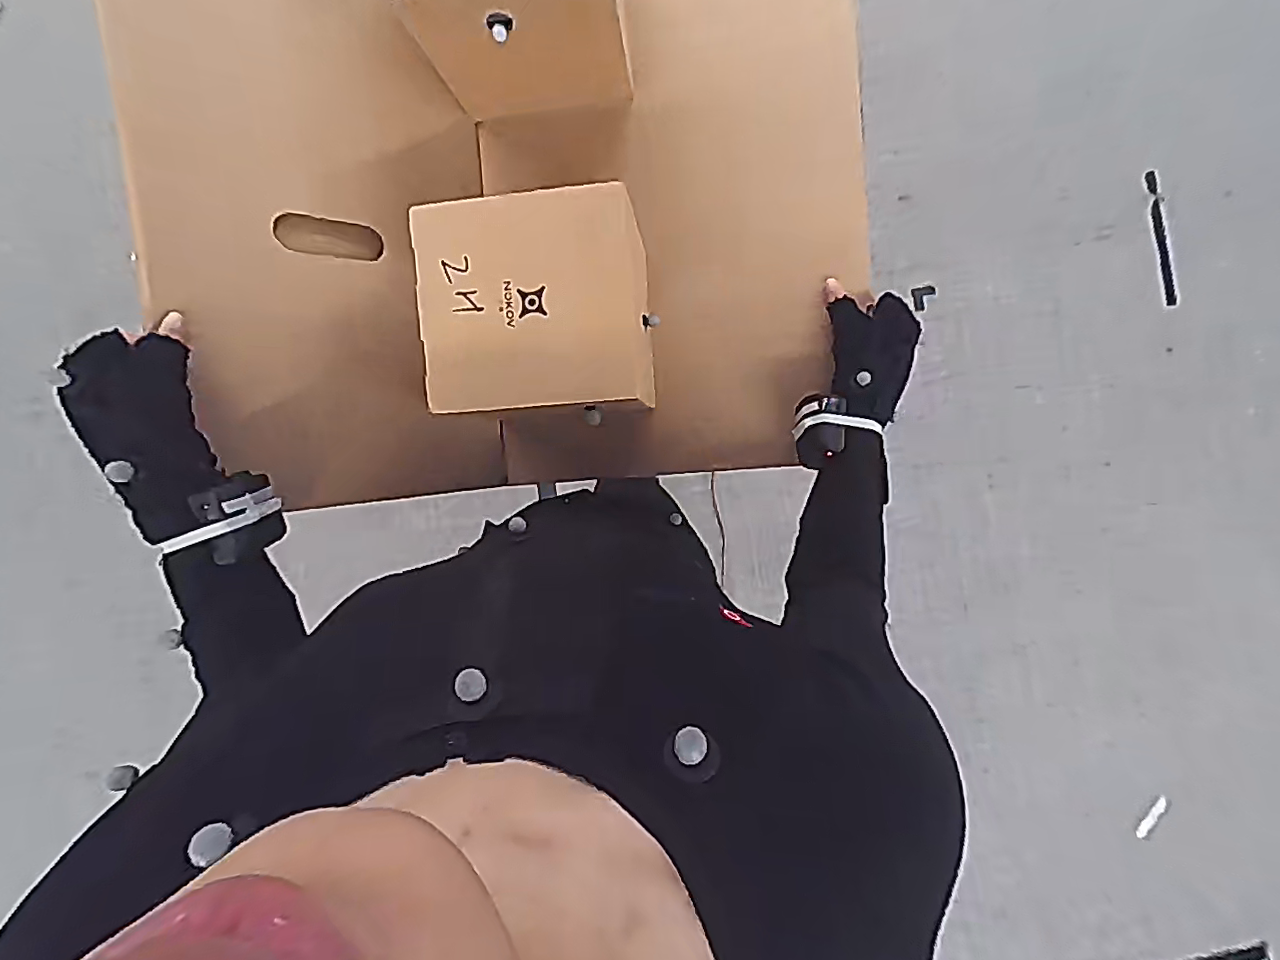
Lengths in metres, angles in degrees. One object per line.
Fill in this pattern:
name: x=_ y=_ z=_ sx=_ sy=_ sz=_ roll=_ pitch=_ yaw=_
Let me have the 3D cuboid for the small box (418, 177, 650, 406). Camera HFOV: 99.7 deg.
small box: x=-0.083 y=-0.160 z=0.516 sx=0.179 sy=0.176 sz=0.168 roll=-3 pitch=94 yaw=7

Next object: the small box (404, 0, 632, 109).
small box: x=-0.109 y=-0.476 z=0.493 sx=0.179 sy=0.176 sz=0.168 roll=-5 pitch=94 yaw=6
